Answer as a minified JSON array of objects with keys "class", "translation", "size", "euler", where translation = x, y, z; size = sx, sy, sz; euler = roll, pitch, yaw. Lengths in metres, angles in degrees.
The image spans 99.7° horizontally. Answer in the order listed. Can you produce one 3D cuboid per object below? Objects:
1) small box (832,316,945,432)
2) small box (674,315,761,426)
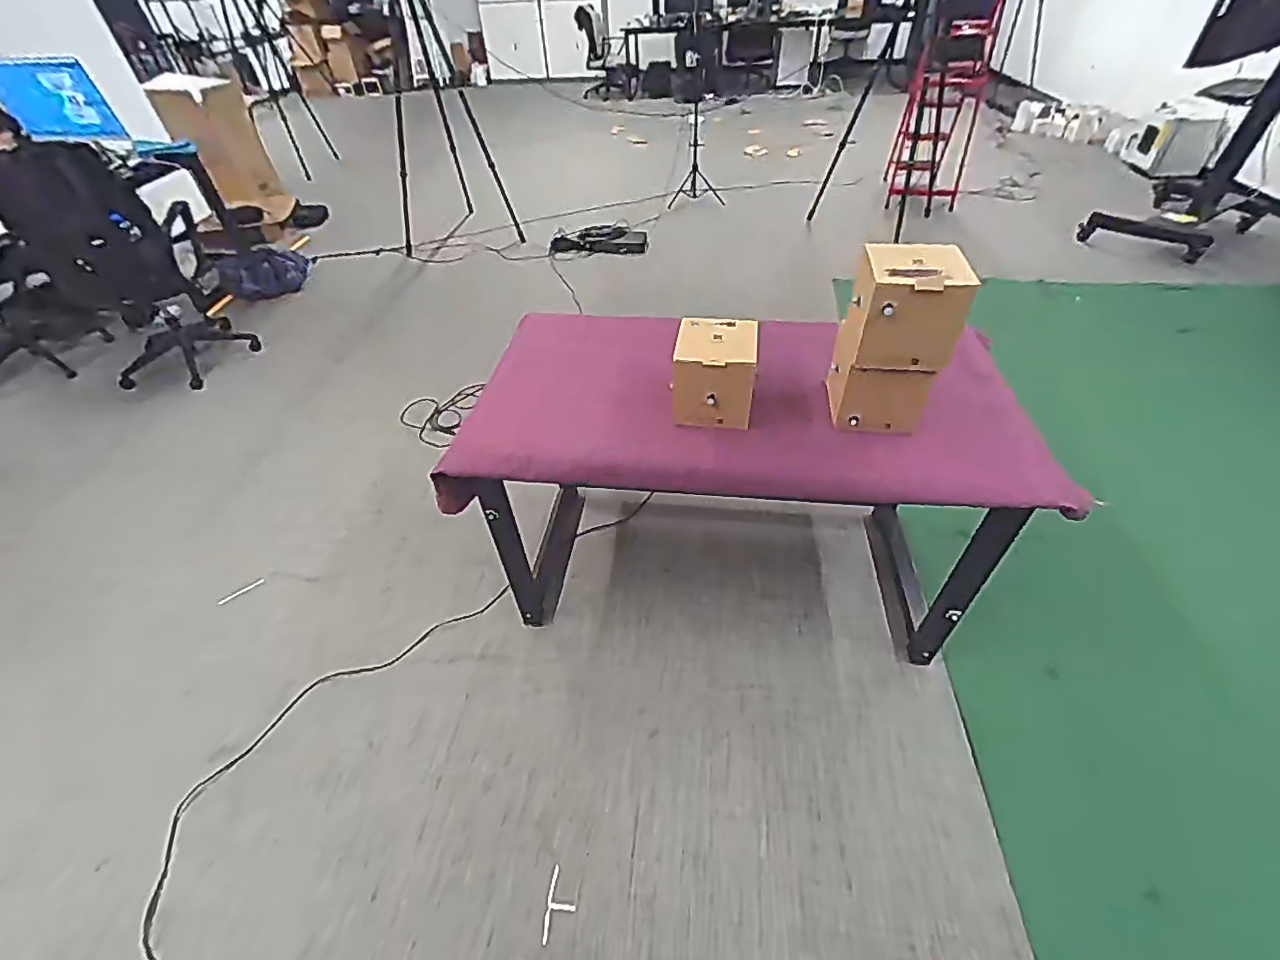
[{"class":"small box","translation":[0.506,-0.219,1.128],"size":[0.168,0.176,0.179],"euler":[8,46,9]},{"class":"small box","translation":[0.167,-0.234,1.164],"size":[0.168,0.176,0.179],"euler":[6,46,9]}]
